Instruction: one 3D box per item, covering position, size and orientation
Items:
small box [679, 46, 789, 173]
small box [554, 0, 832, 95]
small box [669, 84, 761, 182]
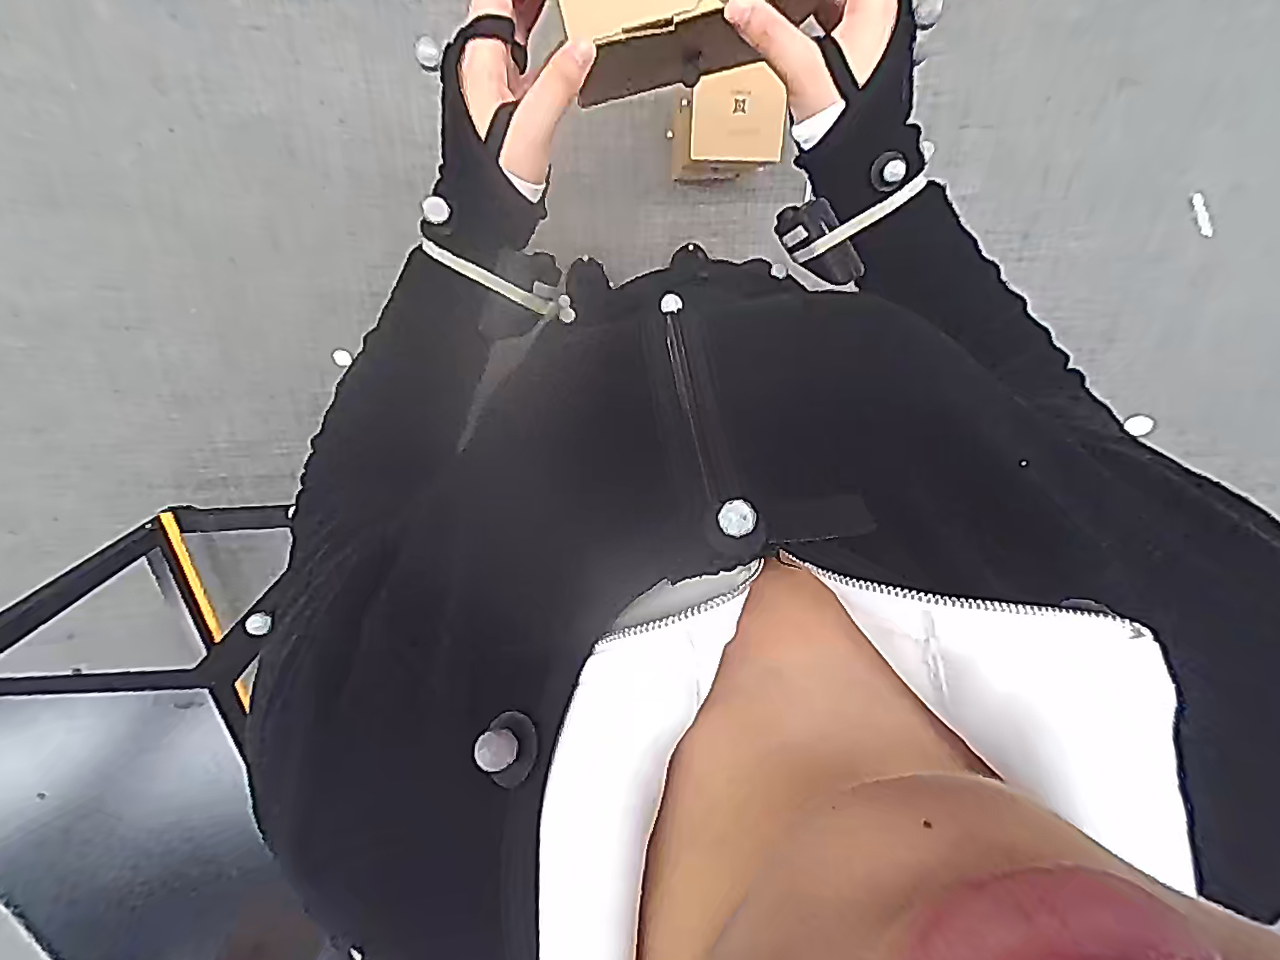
[{"bbox_3d":[0.165,-0.684,1.013,0.168,0.176,0.179,-1,116,-3],"label":"small box"},{"bbox_3d":[0.016,-0.373,0.348,0.168,0.176,0.179,-14,117,2],"label":"small box"},{"bbox_3d":[0.160,-0.743,1.165,0.179,0.176,0.168,-2,115,-3],"label":"small box"}]
